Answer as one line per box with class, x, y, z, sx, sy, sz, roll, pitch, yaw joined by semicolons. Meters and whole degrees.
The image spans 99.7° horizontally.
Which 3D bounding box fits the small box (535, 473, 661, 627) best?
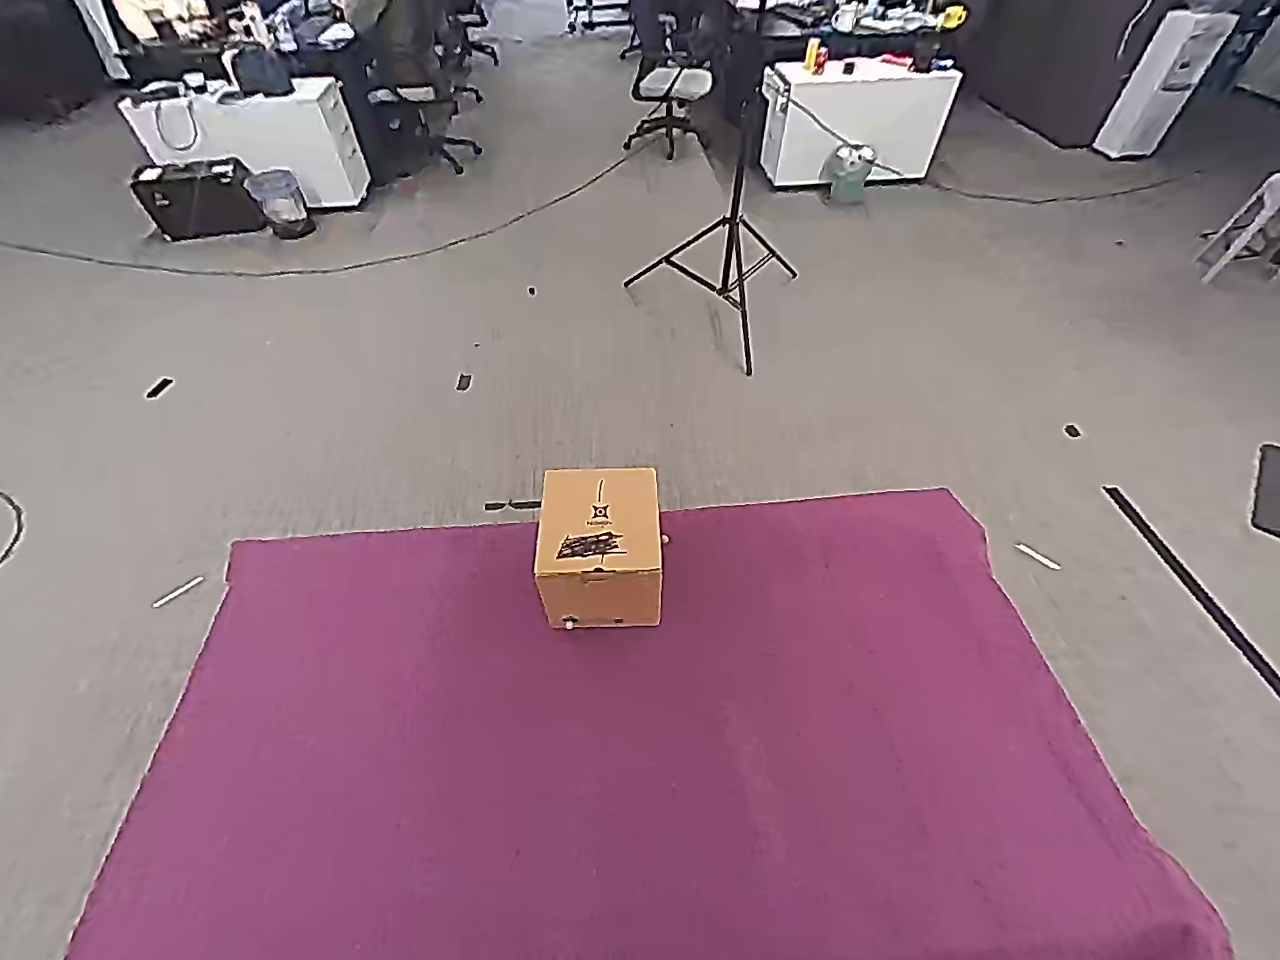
small box;-0.054;0.109;0.807;0.168;0.176;0.179;-1;50;-1
